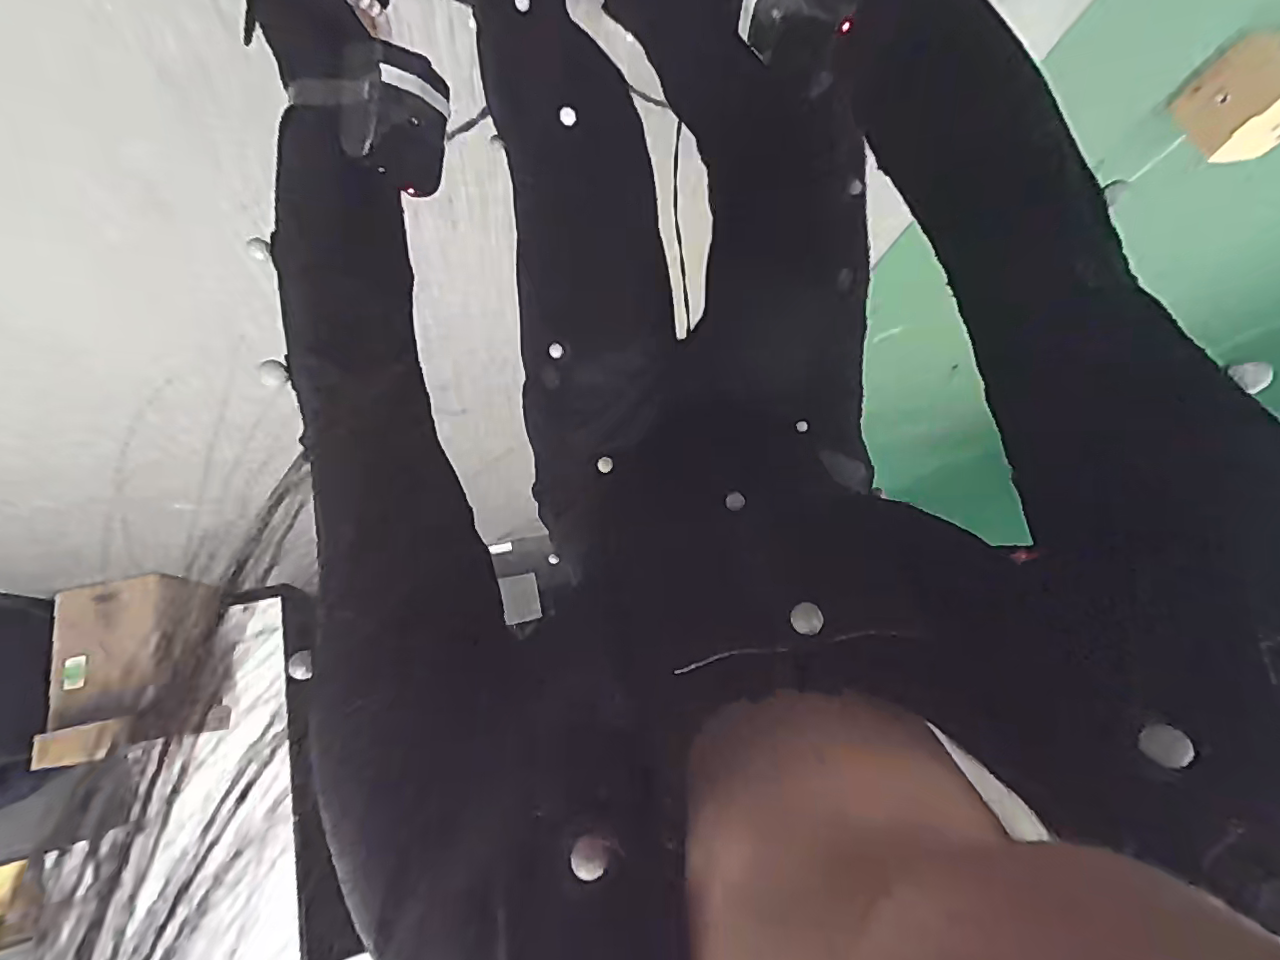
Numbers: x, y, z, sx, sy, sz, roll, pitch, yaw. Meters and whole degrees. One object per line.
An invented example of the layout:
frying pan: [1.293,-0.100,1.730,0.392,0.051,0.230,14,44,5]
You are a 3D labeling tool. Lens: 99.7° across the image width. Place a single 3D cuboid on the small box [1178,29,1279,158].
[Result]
small box: [1.338,-0.829,1.165,0.179,0.176,0.168,-9,163,-12]
